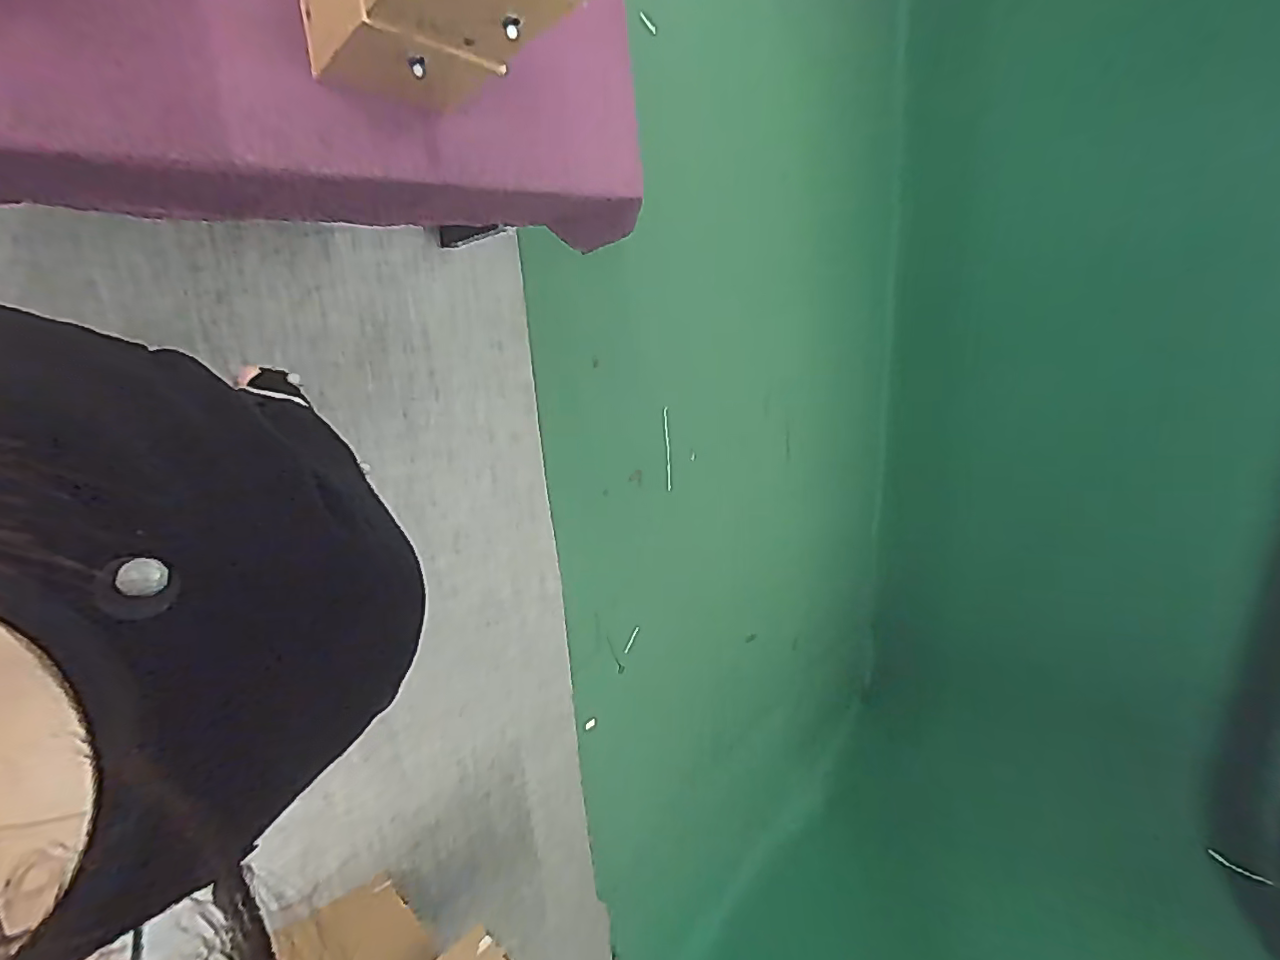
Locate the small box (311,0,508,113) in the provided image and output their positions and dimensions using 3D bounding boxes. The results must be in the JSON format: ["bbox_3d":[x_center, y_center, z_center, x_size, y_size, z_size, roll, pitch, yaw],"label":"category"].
[{"bbox_3d":[-0.284,-0.575,0.650,0.179,0.176,0.168,-15,109,-43],"label":"small box"}]

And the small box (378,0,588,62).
[{"bbox_3d":[-0.170,-0.563,0.535,0.168,0.176,0.179,-16,108,-43],"label":"small box"}]
